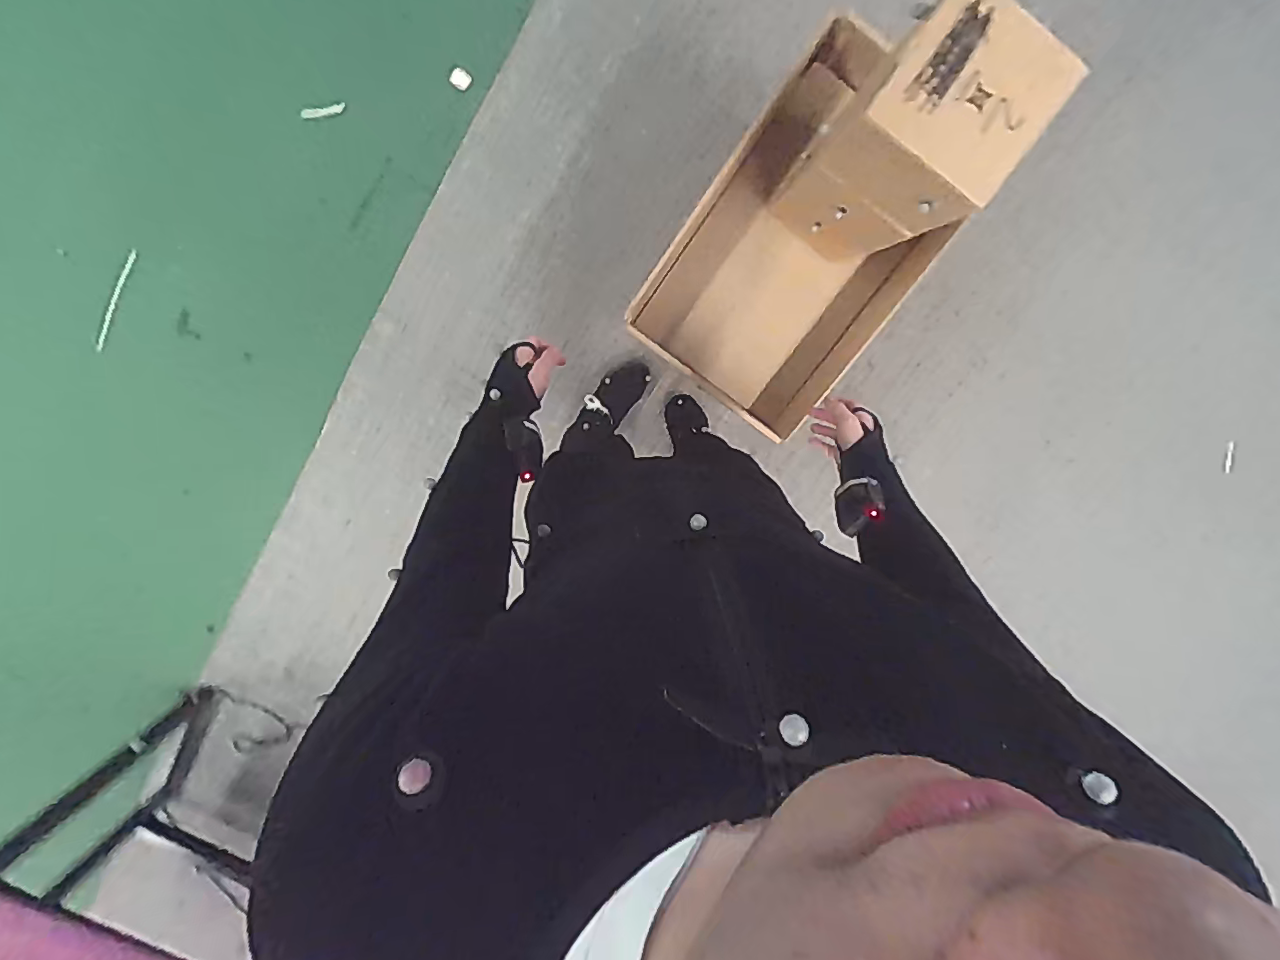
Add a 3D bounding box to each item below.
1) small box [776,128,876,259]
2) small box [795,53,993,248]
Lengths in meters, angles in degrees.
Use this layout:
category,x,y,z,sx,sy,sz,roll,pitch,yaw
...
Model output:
category,x,y,z,sx,sy,sz,roll,pitch,yaw
small box,0.374,-0.520,0.973,0.179,0.176,0.168,35,103,-8
small box,0.367,-0.475,0.816,0.179,0.176,0.168,34,103,-7
